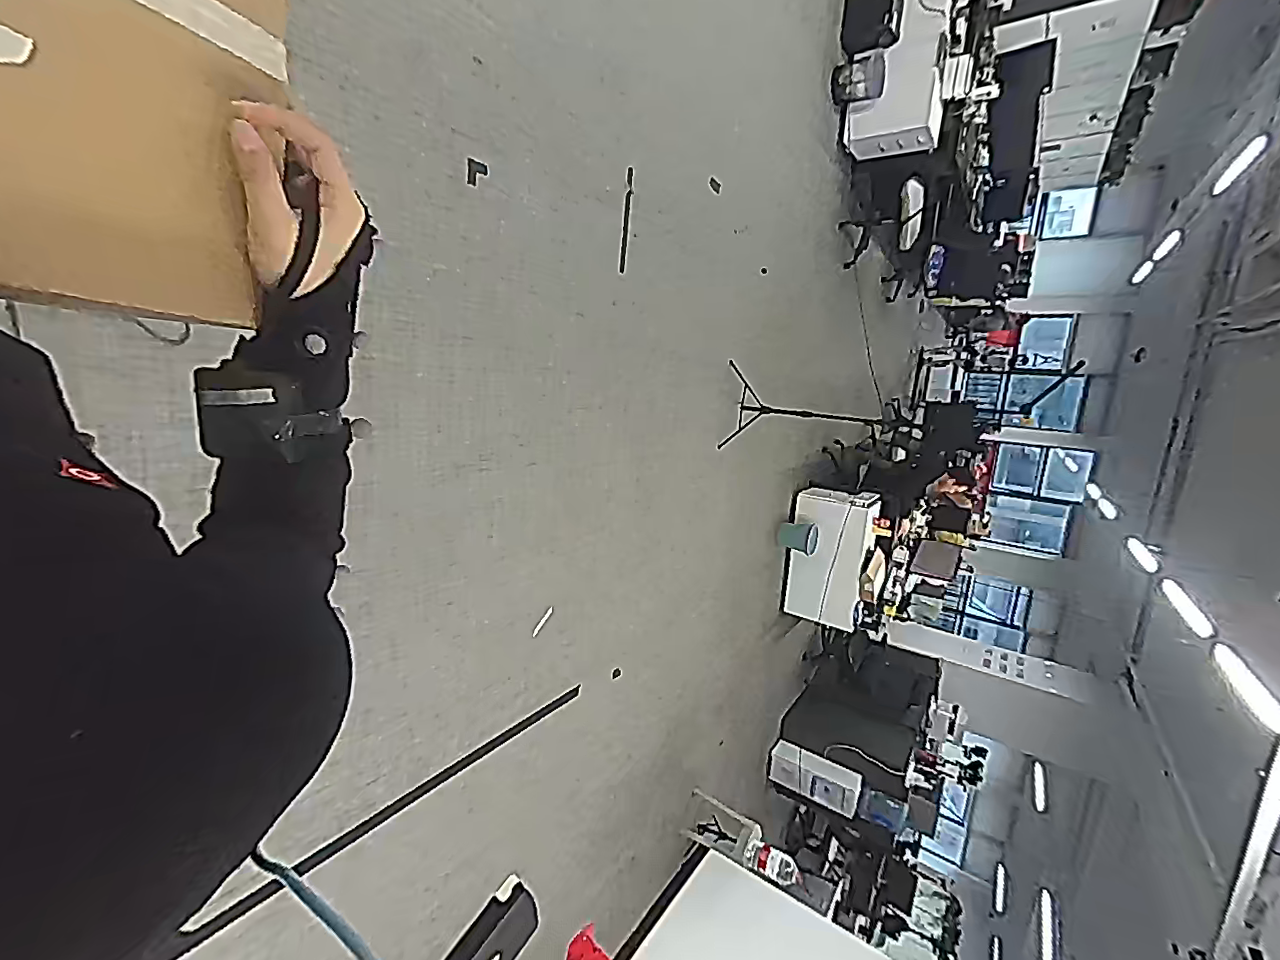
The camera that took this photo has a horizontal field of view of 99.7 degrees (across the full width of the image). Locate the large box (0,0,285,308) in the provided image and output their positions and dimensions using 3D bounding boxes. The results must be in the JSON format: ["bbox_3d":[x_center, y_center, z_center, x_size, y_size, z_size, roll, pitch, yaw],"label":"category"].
[{"bbox_3d":[-0.447,-0.275,0.229,0.408,0.320,0.320,-6,108,-61],"label":"large box"}]
